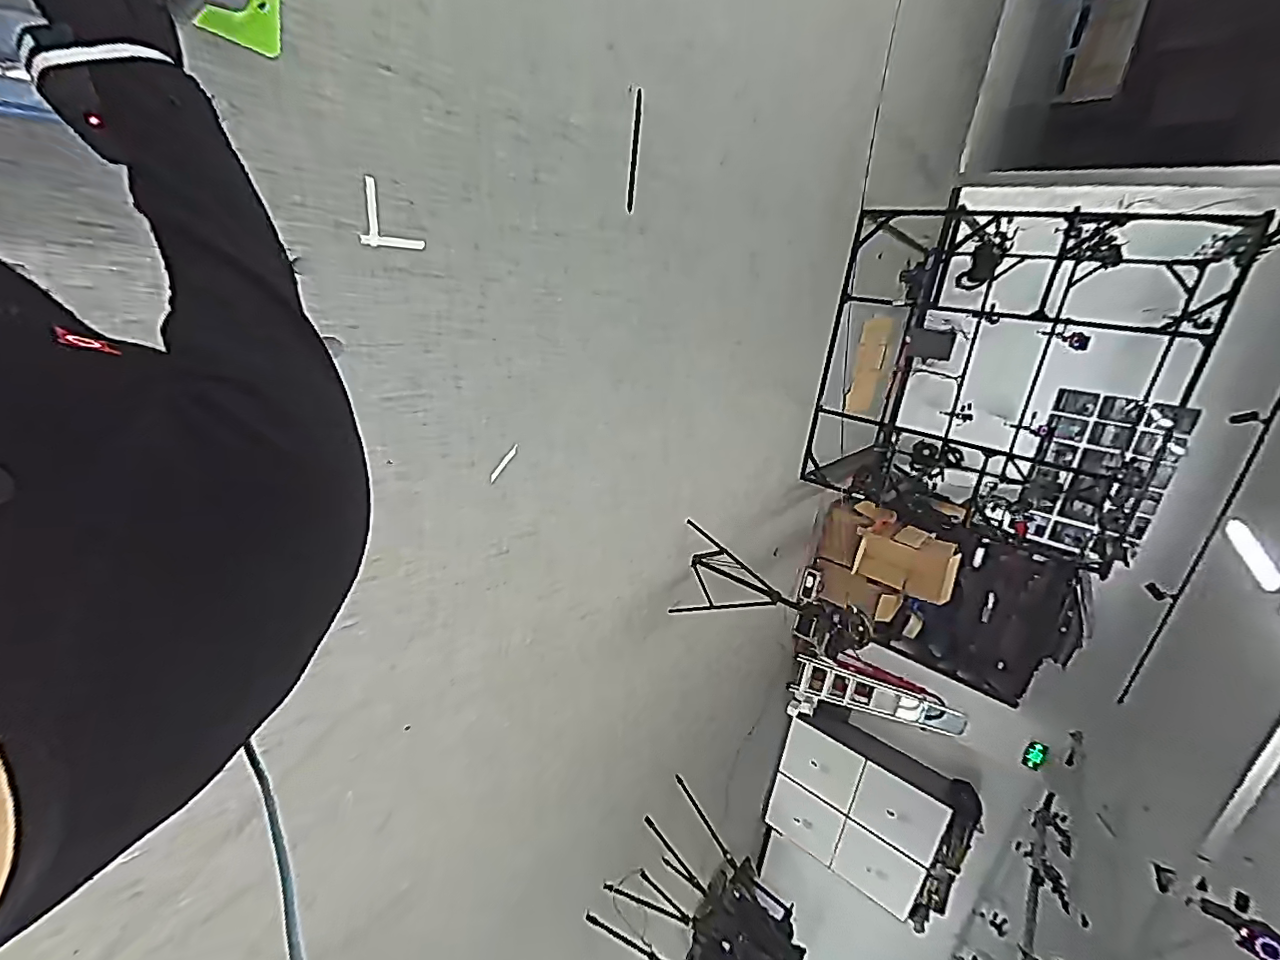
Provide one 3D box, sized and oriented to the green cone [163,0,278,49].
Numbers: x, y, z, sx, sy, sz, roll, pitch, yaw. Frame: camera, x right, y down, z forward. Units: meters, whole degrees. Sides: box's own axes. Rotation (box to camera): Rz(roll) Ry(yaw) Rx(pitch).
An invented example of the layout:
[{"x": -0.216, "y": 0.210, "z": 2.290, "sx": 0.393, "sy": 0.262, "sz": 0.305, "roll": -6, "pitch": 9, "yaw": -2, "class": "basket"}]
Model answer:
[{"x": -0.671, "y": -0.925, "z": 0.935, "sx": 0.202, "sy": 0.368, "sz": 0.200, "roll": -12, "pitch": 117, "yaw": -52, "class": "green cone"}]
